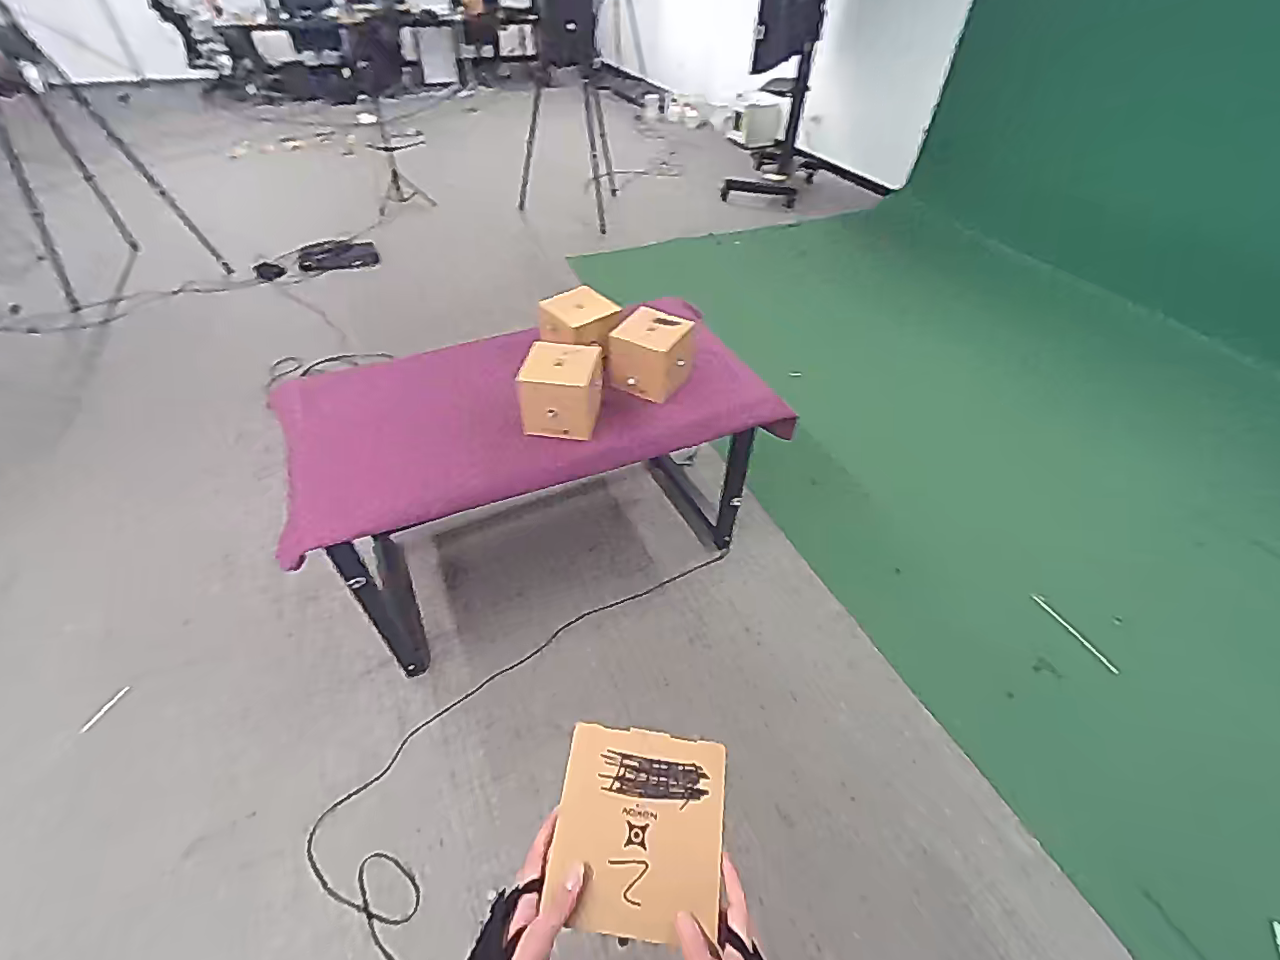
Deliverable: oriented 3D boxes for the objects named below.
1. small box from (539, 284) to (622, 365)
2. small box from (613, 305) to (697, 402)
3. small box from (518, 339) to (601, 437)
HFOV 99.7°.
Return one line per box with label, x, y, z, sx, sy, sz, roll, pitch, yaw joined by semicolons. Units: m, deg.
small box;-0.166;-0.429;1.549;0.168;0.176;0.179;-31;55;-27
small box;0.037;-0.344;1.472;0.168;0.176;0.179;24;51;20
small box;-0.191;-0.228;1.348;0.168;0.176;0.179;7;46;4
